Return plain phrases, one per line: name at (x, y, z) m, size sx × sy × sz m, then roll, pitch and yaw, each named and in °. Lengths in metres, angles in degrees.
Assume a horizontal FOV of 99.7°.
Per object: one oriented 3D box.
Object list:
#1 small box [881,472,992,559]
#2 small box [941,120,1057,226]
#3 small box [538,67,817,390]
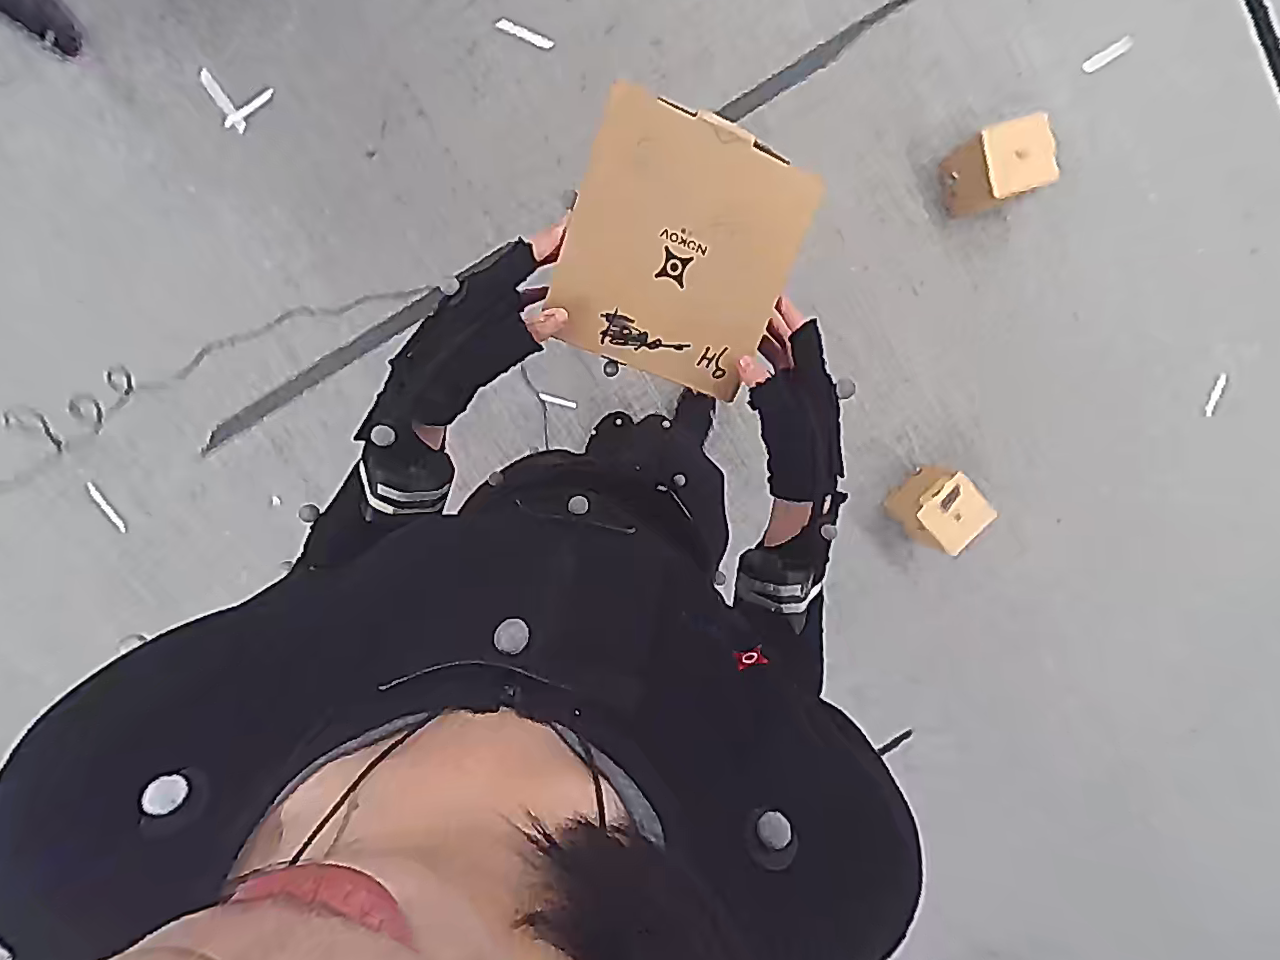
small box at (0.823, 0.091, 1.519) m, size 0.168 × 0.176 × 0.179 m, roll -44°, pitch 99°, yaw 2°
small box at (0.924, -0.787, 1.404) m, size 0.179 × 0.176 × 0.168 m, roll -17°, pitch 98°, yaw -1°
small box at (0.016, -0.197, 0.470) m, size 0.168 × 0.176 × 0.179 m, roll 17°, pitch 105°, yaw -12°
